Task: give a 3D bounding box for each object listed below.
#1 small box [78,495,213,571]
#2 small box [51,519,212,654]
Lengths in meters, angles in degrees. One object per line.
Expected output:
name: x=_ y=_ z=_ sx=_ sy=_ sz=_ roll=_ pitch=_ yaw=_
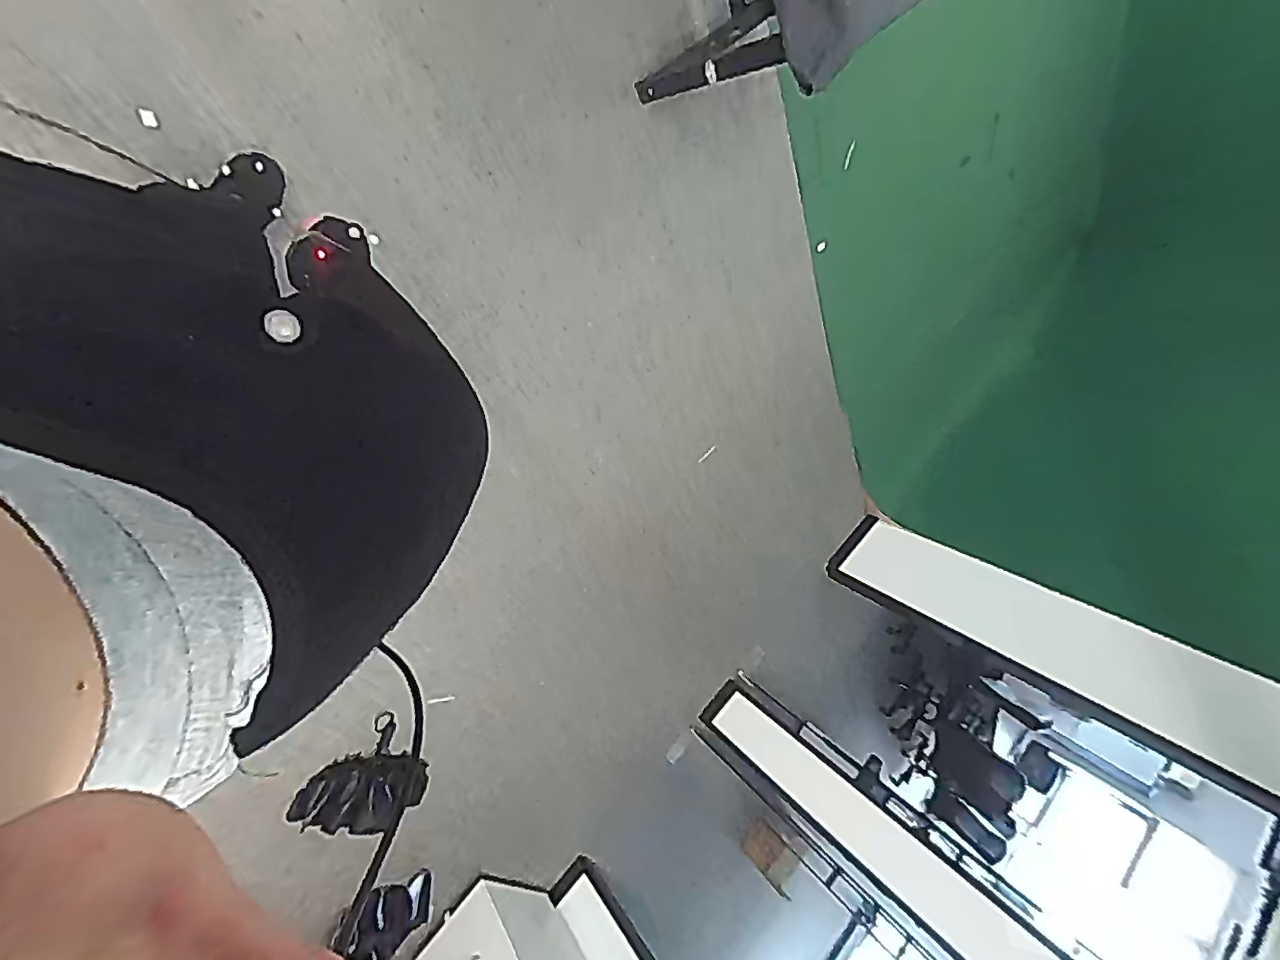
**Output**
small box: x=-1.100 y=0.160 z=1.206 sx=0.179 sy=0.176 sz=0.168 roll=-53 pitch=132 yaw=-6
small box: x=-1.002 y=0.209 z=1.083 sx=0.179 sy=0.176 sz=0.168 roll=-54 pitch=133 yaw=-9
